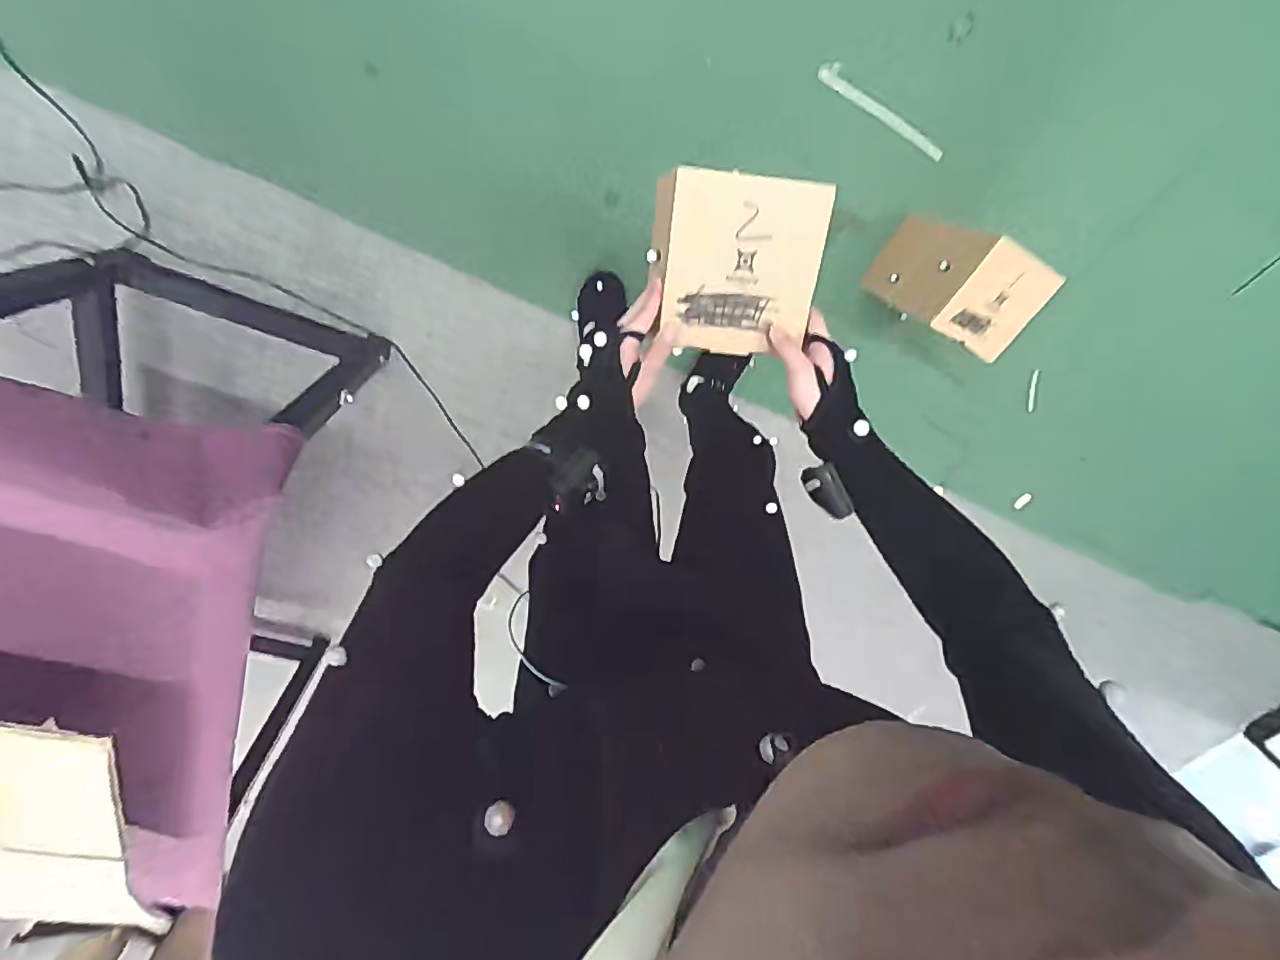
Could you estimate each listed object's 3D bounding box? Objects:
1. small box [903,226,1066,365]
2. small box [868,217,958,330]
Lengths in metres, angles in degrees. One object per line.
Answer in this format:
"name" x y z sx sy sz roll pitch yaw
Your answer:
"small box" 0.639 -0.356 1.035 0.168 0.176 0.179 23 118 -17
"small box" 0.633 -0.444 1.173 0.168 0.176 0.179 23 119 -16
